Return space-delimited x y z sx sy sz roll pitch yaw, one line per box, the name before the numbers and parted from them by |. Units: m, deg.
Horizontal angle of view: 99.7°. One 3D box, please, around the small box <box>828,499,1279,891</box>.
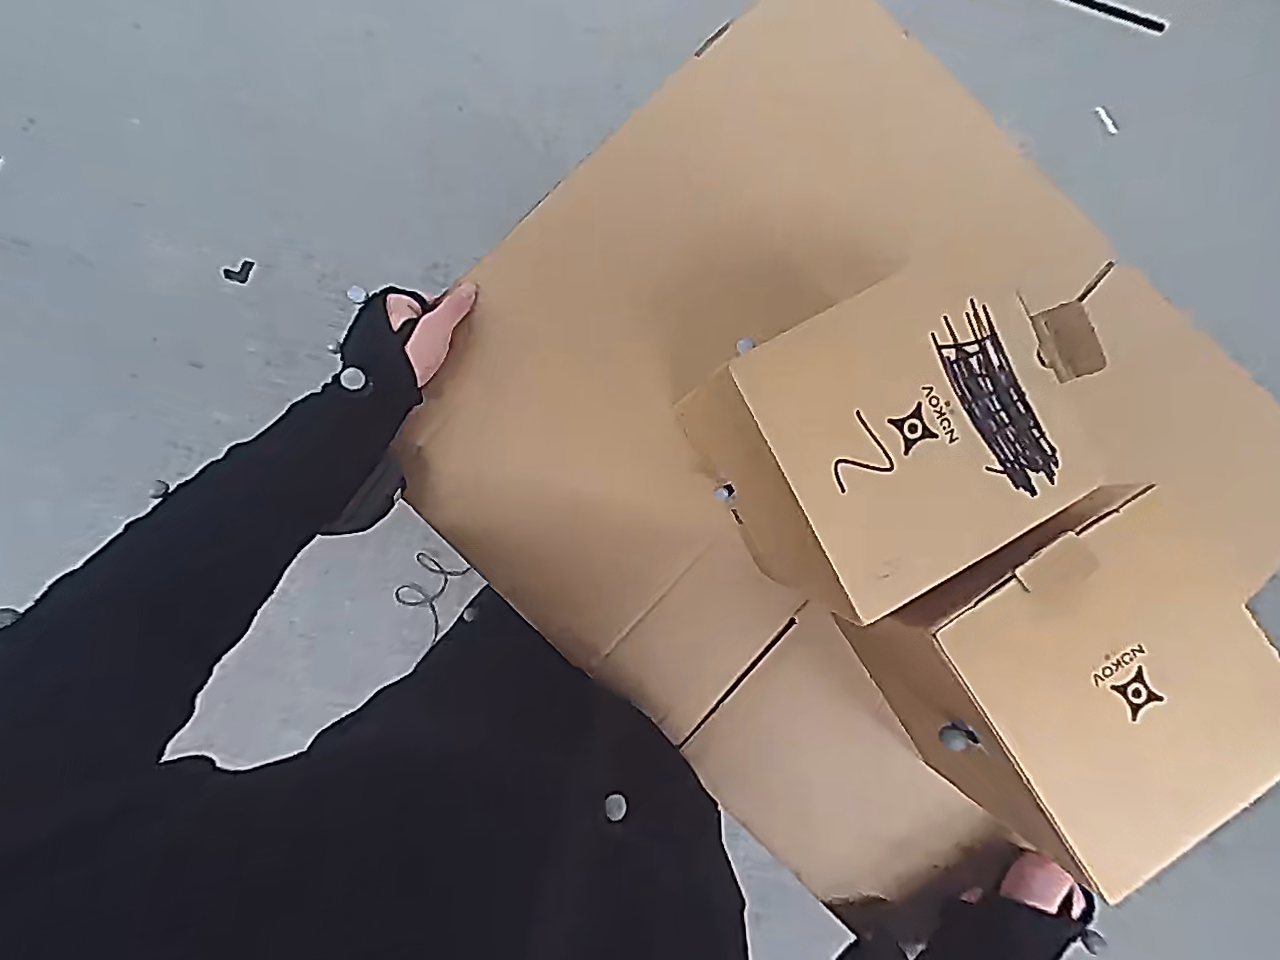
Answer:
small box | 0.276 0.129 0.399 0.168 0.176 0.179 -33 87 -5
